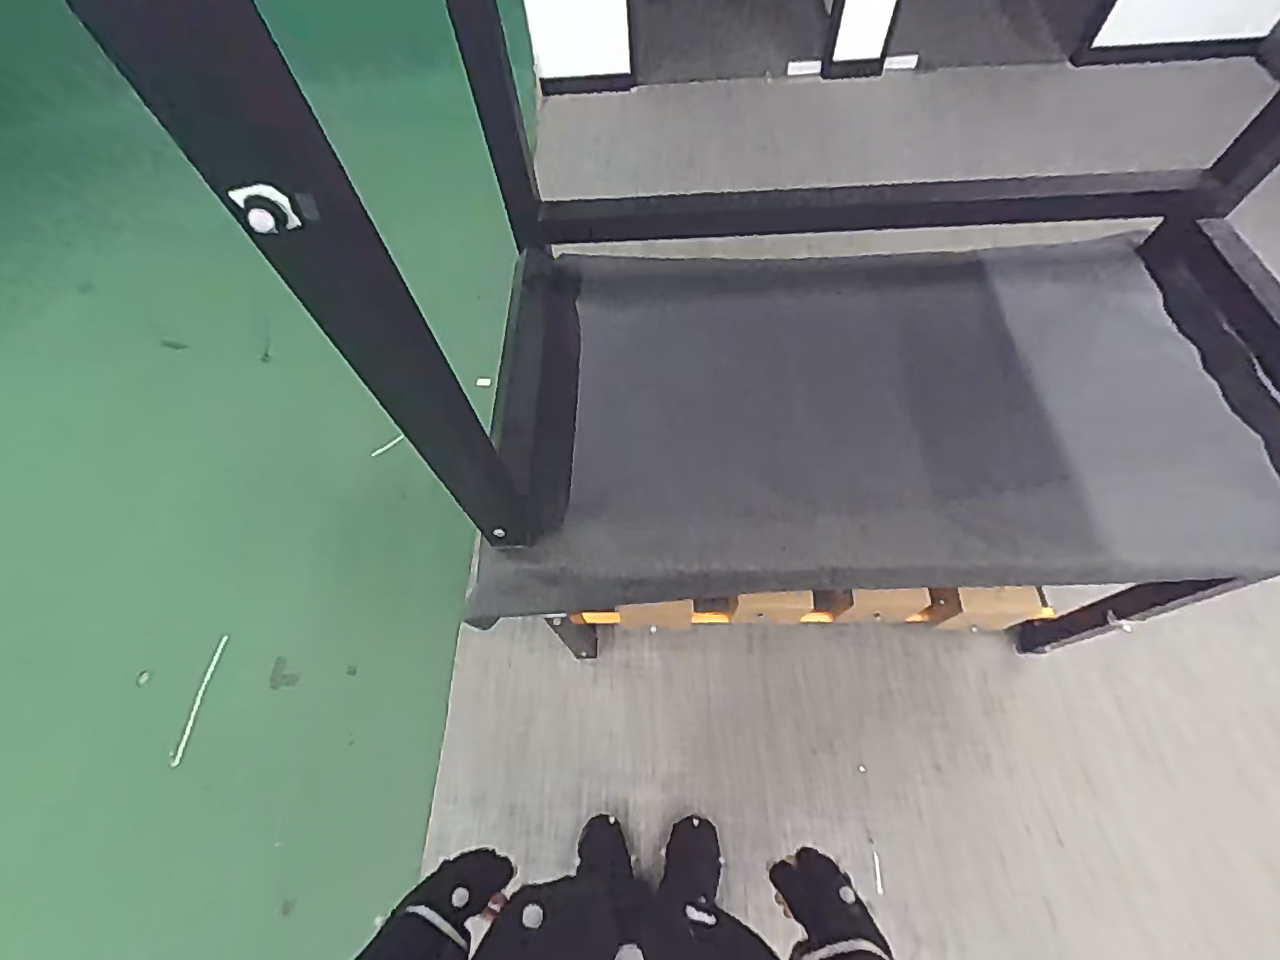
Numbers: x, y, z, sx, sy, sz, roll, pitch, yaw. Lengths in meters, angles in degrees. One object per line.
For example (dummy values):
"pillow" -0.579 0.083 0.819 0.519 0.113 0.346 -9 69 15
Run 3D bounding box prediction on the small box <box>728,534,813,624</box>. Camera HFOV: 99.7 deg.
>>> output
"small box" 0.301 0.239 1.278 0.168 0.176 0.179 0 62 3

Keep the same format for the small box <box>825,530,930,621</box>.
"small box" 0.546 0.230 1.268 0.168 0.176 0.179 -2 62 3
